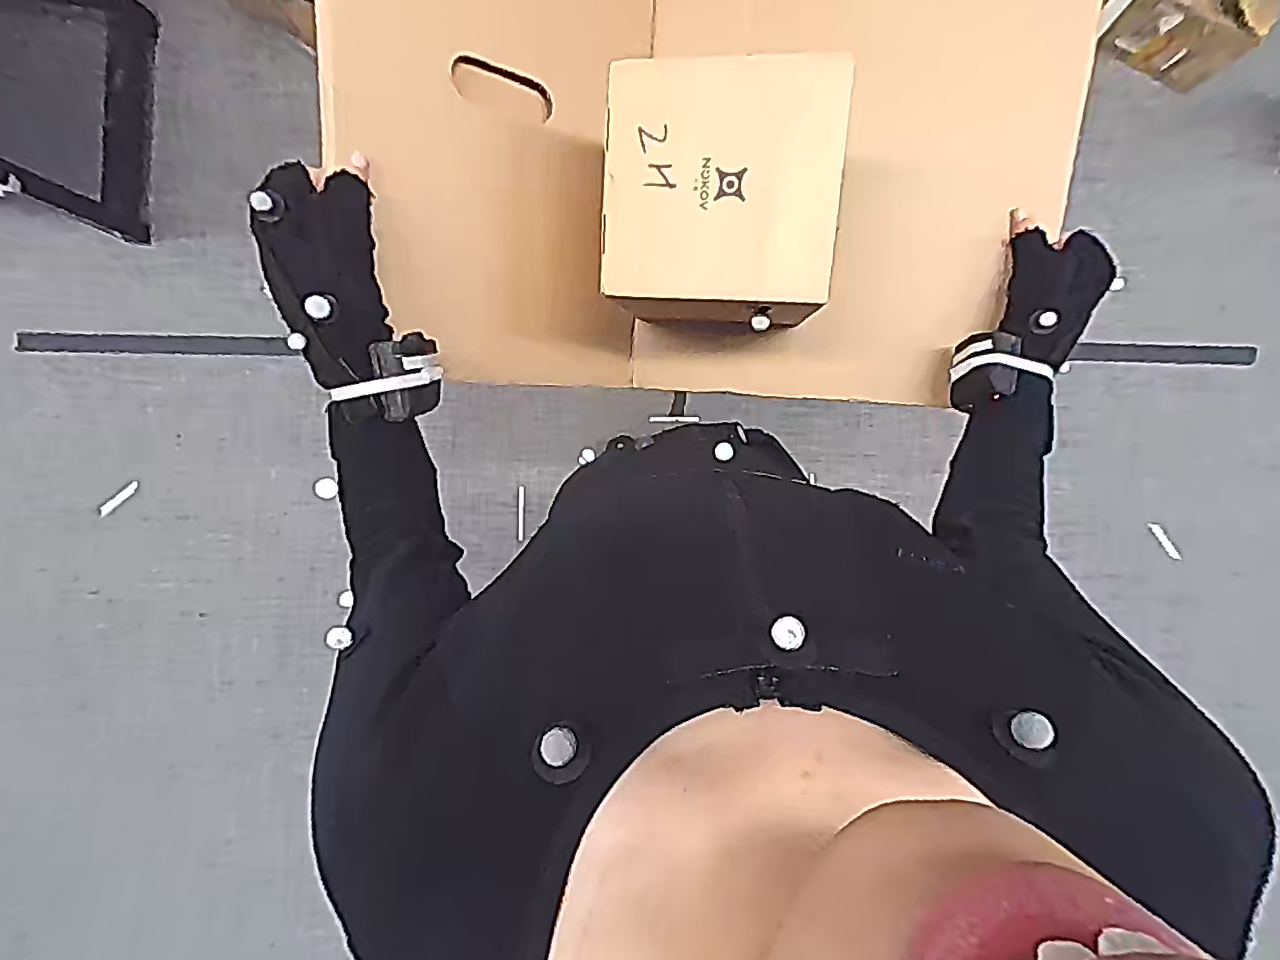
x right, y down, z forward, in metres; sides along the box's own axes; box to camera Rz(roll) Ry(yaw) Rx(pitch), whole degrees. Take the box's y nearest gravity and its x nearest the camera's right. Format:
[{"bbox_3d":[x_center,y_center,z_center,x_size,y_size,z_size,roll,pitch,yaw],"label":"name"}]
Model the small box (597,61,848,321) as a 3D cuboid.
[{"bbox_3d":[0.069,-0.237,0.484,0.179,0.176,0.168,6,101,9],"label":"small box"}]
